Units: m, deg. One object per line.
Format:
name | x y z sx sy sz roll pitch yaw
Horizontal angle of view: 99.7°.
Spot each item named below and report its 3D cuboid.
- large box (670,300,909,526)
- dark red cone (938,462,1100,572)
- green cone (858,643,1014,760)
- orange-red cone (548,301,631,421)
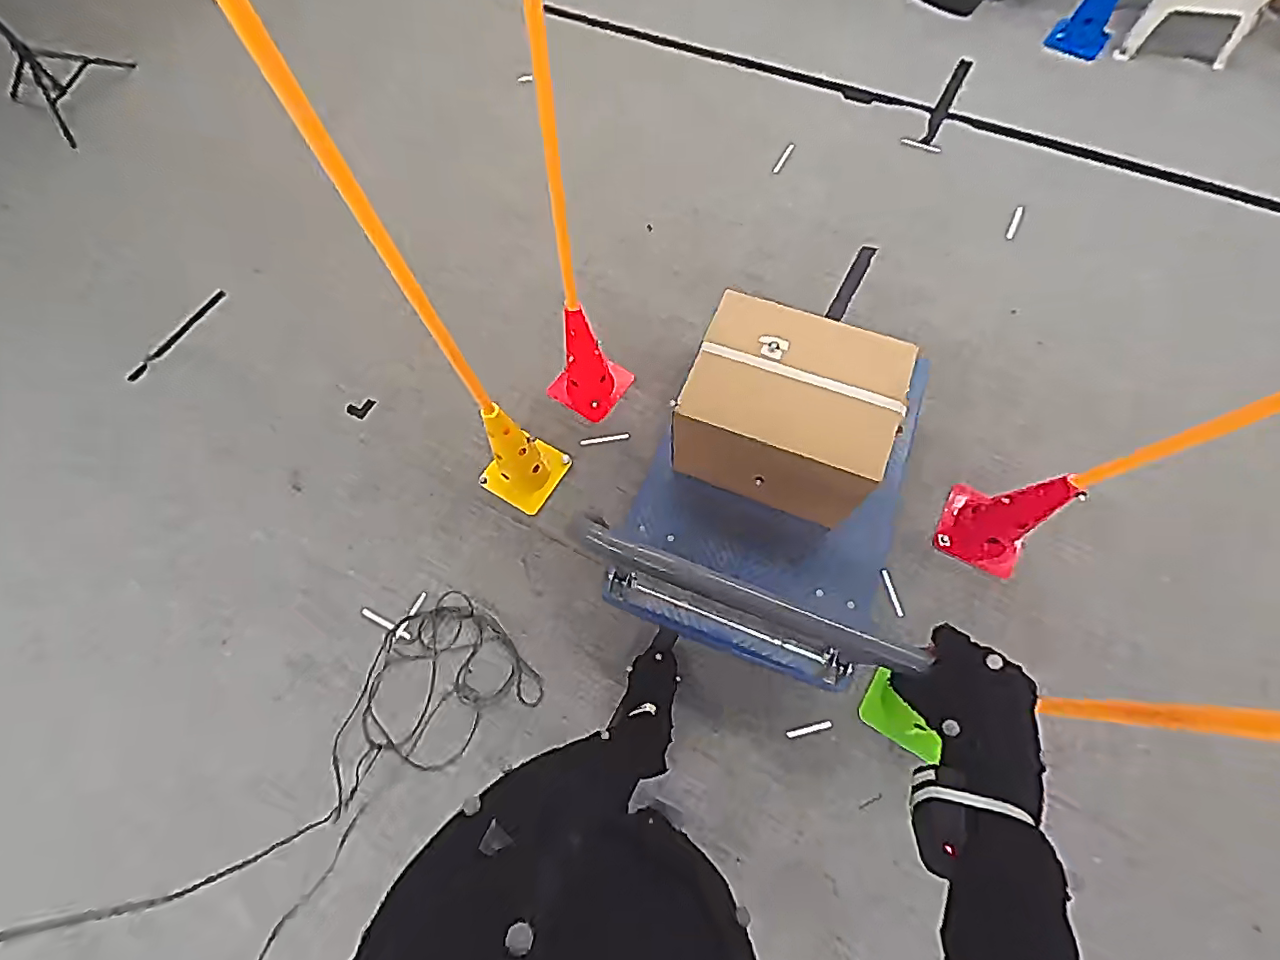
large box | 0.308 -0.135 1.202 0.408 0.320 0.320 20 71 11
dark red cone | 0.878 0.054 1.233 0.201 0.394 0.202 27 72 11
green cone | 0.629 0.450 1.103 0.202 0.368 0.200 30 72 12
orange-red cone | -0.154 -0.353 1.467 0.198 0.360 0.199 34 72 14
